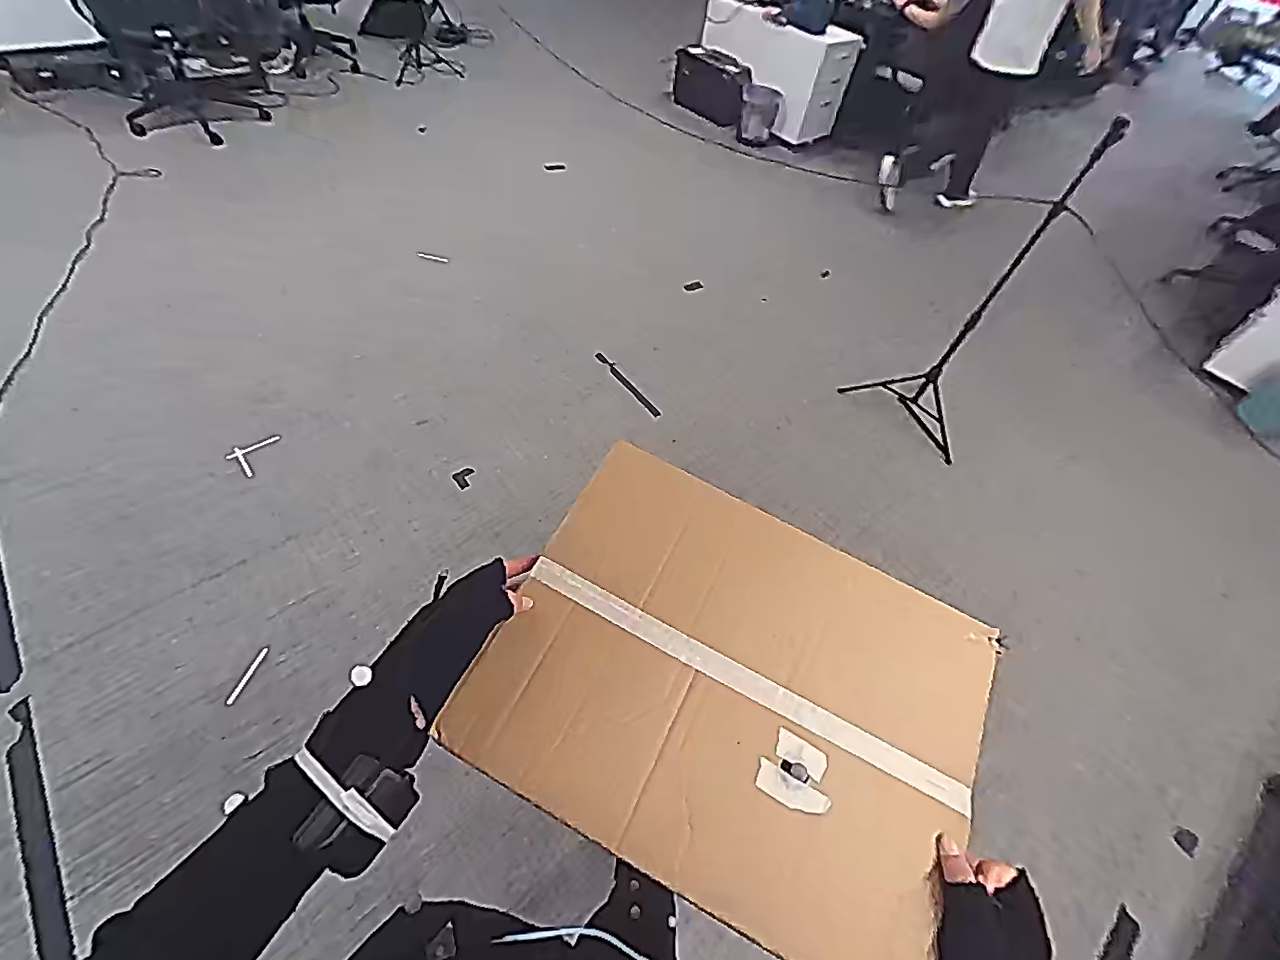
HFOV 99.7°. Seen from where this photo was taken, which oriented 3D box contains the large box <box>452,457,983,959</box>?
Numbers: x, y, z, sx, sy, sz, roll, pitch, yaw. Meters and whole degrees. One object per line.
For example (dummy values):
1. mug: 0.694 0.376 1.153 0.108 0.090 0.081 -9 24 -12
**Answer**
1. large box: 0.071 0.245 0.606 0.408 0.320 0.320 28 63 7
